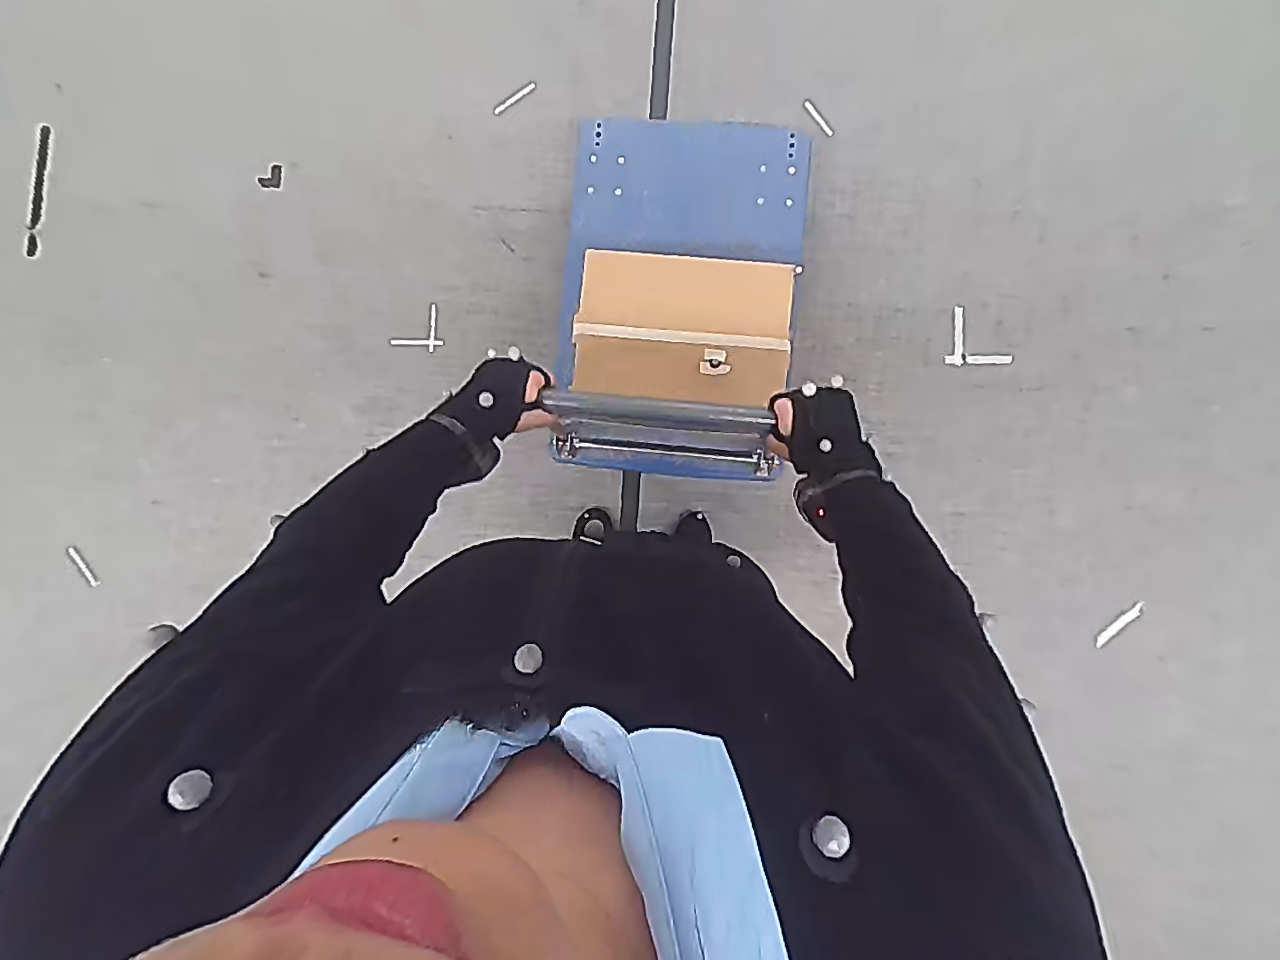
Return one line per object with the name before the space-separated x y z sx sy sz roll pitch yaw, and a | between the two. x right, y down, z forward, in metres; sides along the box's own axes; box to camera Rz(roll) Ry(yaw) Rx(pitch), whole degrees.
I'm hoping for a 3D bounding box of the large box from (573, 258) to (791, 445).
large box | 0.082 -0.256 1.180 0.408 0.320 0.320 6 90 2
